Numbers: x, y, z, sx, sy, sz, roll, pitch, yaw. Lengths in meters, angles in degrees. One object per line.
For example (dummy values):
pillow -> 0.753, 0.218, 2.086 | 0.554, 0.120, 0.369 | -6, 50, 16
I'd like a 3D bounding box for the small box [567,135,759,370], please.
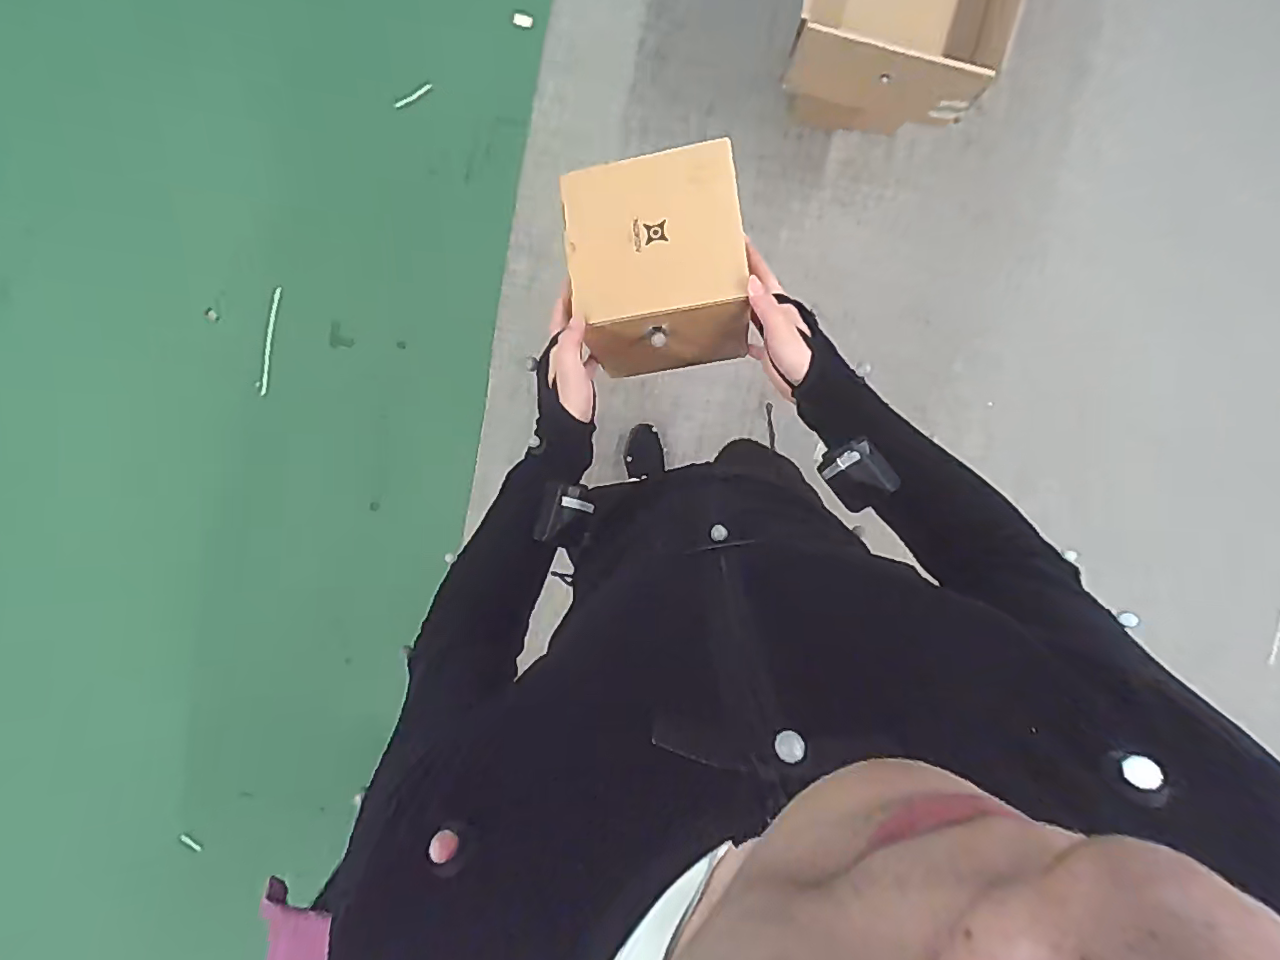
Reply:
small box -> 0.031, -0.234, 0.600 | 0.179, 0.176, 0.168 | -7, 83, 10
